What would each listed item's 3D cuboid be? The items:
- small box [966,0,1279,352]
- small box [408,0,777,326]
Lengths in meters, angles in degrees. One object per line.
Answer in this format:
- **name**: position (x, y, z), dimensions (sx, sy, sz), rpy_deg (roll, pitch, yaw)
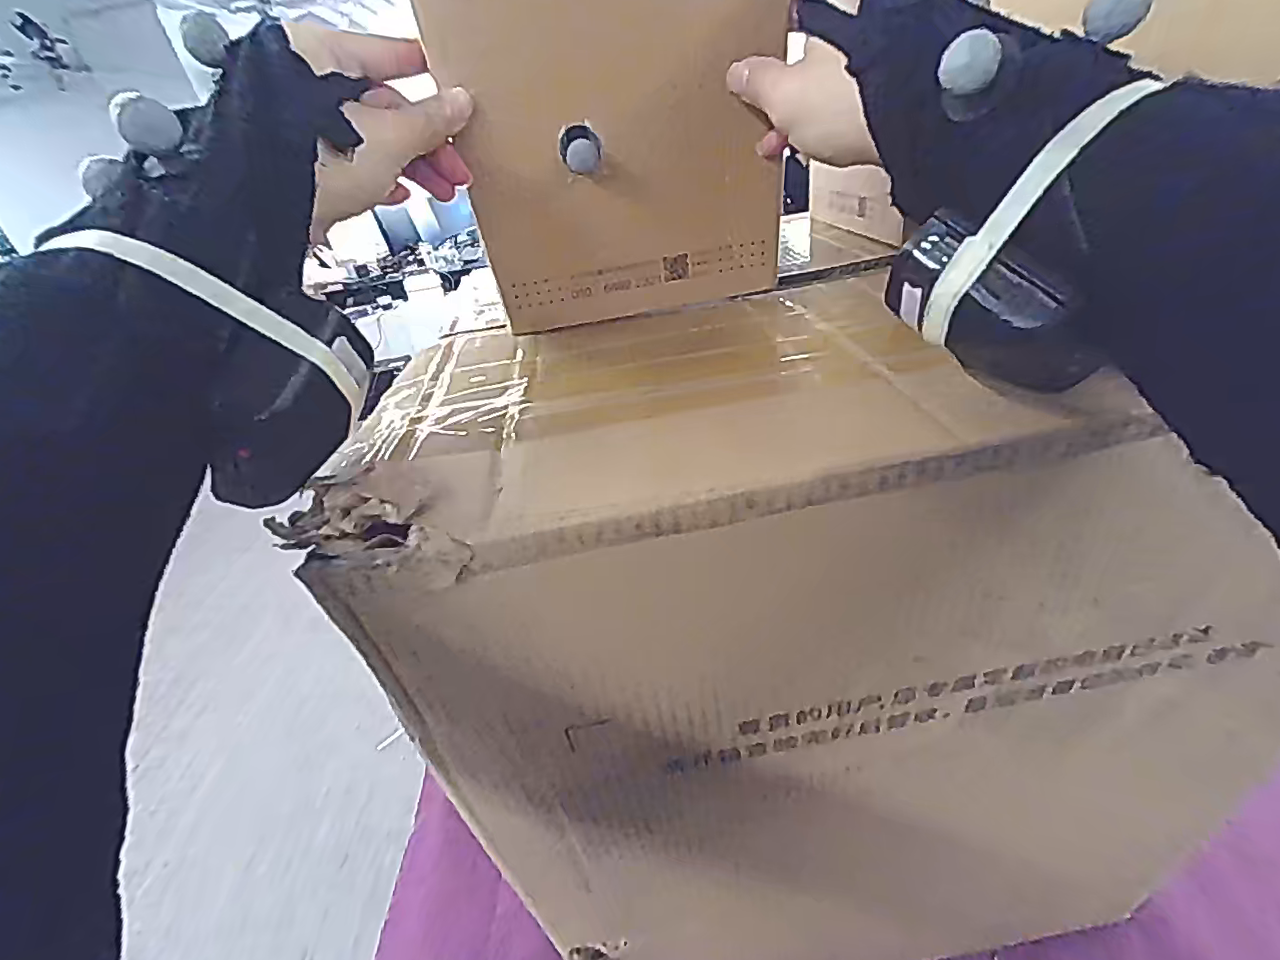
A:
- **small box**: position (0.260, -0.164, 0.213), dimensions (0.179, 0.176, 0.168), rpy_deg (-13, 34, -2)
- **small box**: position (-0.017, -0.209, 0.337), dimensions (0.168, 0.176, 0.179), rpy_deg (-11, 42, -1)
